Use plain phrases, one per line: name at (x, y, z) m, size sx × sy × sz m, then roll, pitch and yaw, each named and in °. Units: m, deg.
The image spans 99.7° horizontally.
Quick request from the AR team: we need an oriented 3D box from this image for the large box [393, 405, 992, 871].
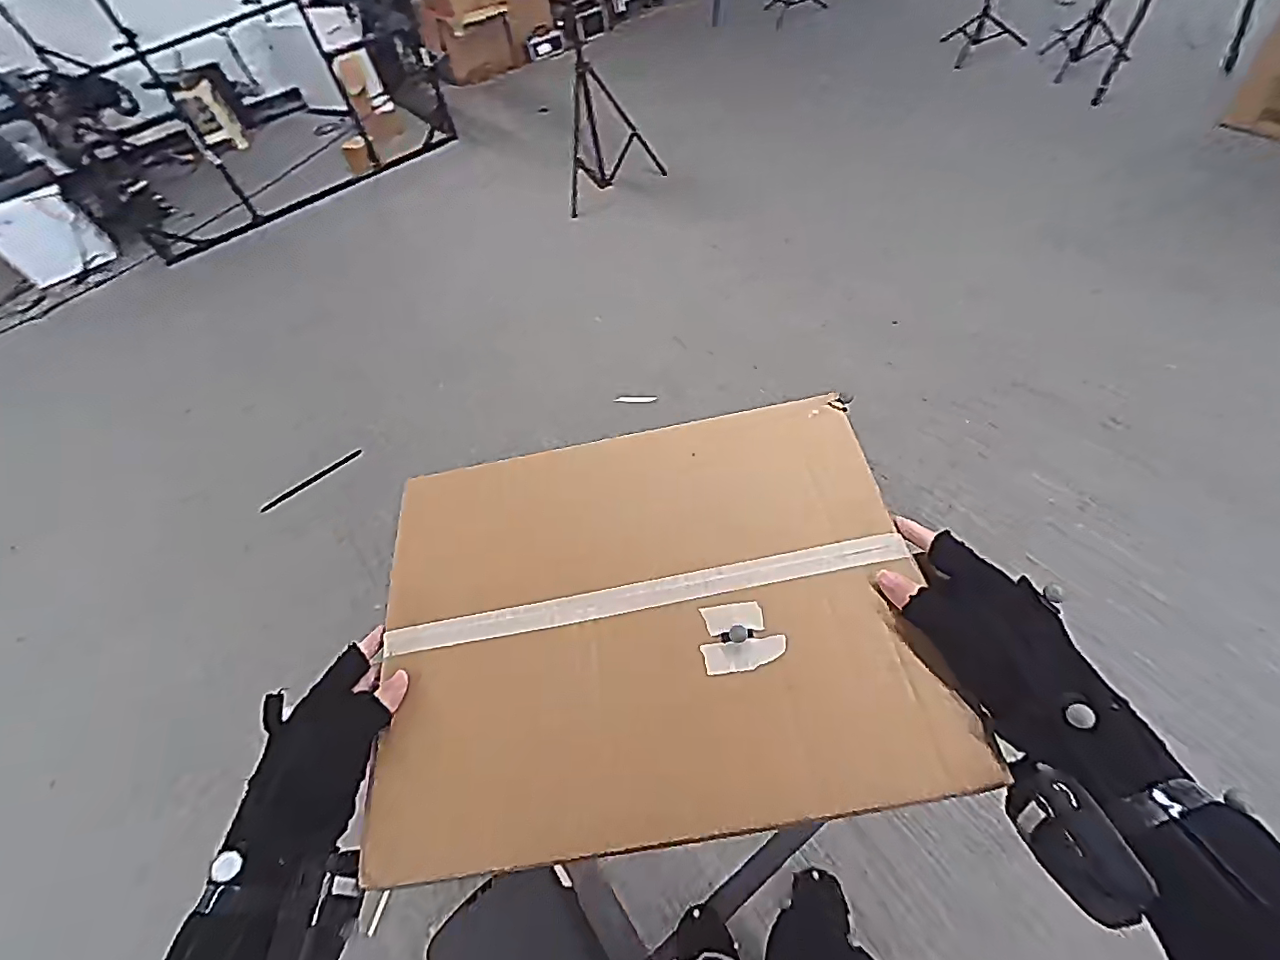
large box at (0.030, 0.173, 0.552) m, size 0.408 × 0.320 × 0.320 m, roll -11°, pitch 57°, yaw 3°
